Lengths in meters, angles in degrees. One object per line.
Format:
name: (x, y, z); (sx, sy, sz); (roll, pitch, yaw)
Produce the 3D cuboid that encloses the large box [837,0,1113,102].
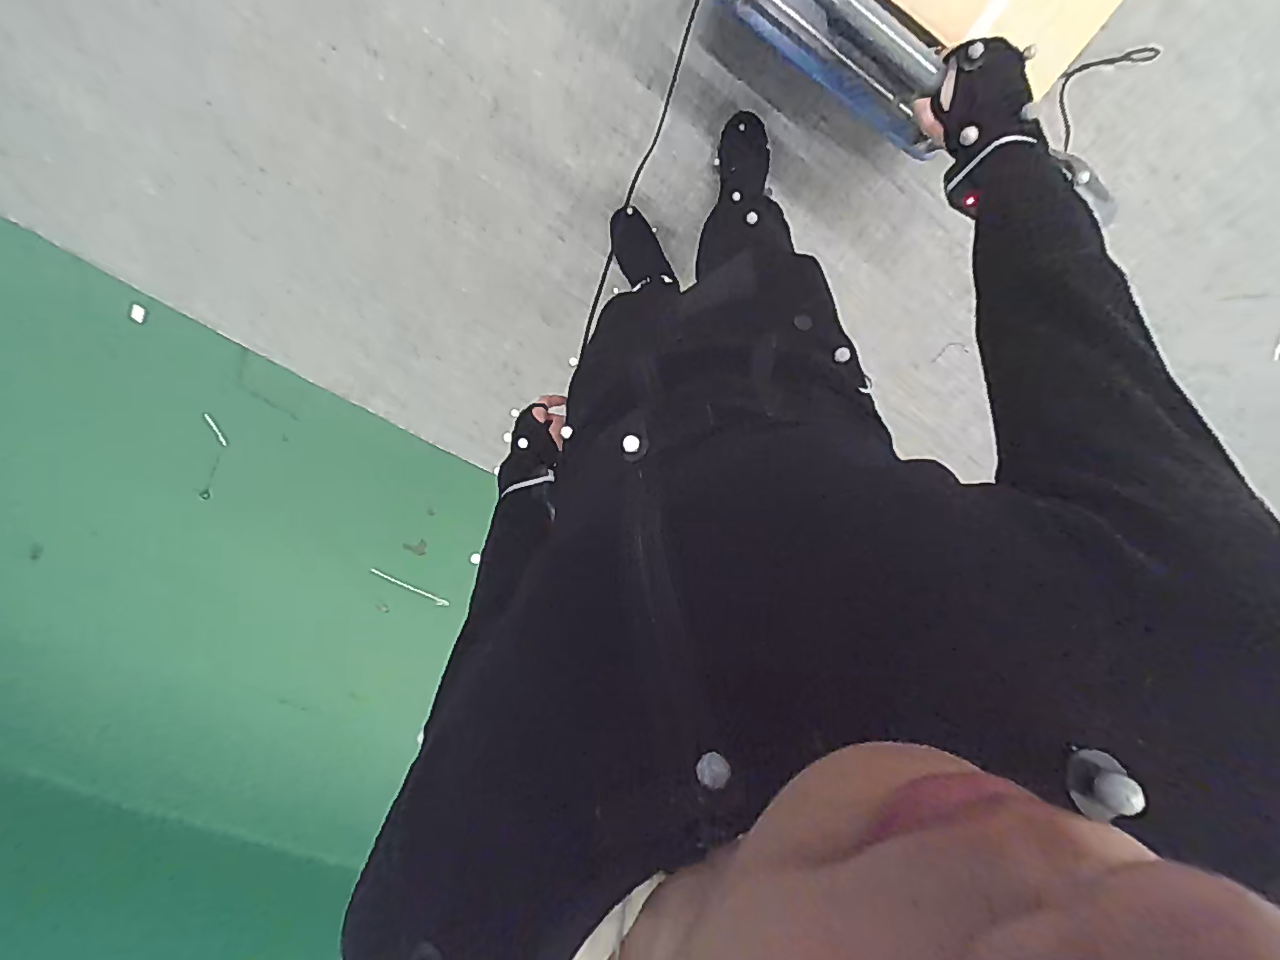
large box: (0.585, -0.883, 0.839); (0.320, 0.320, 0.408); (25, 123, -15)
